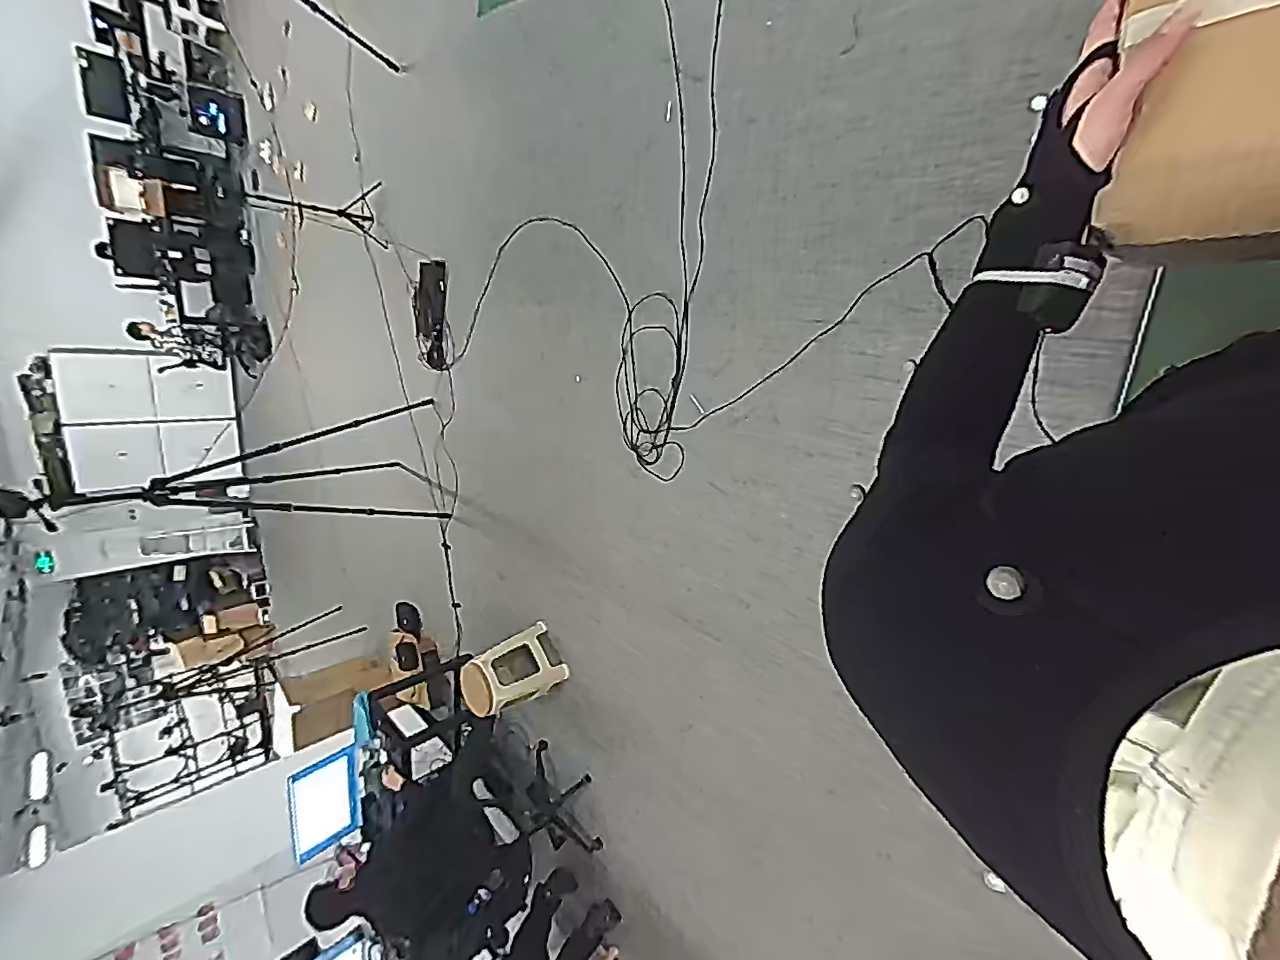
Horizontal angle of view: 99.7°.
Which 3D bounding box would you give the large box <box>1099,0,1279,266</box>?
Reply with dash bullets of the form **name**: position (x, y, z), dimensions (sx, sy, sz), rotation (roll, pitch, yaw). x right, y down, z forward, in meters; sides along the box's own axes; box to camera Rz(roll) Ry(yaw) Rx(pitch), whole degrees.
- **large box**: position (0.632, -0.350, 0.392), dimensions (0.408, 0.320, 0.320), rotation (14, 112, 43)
